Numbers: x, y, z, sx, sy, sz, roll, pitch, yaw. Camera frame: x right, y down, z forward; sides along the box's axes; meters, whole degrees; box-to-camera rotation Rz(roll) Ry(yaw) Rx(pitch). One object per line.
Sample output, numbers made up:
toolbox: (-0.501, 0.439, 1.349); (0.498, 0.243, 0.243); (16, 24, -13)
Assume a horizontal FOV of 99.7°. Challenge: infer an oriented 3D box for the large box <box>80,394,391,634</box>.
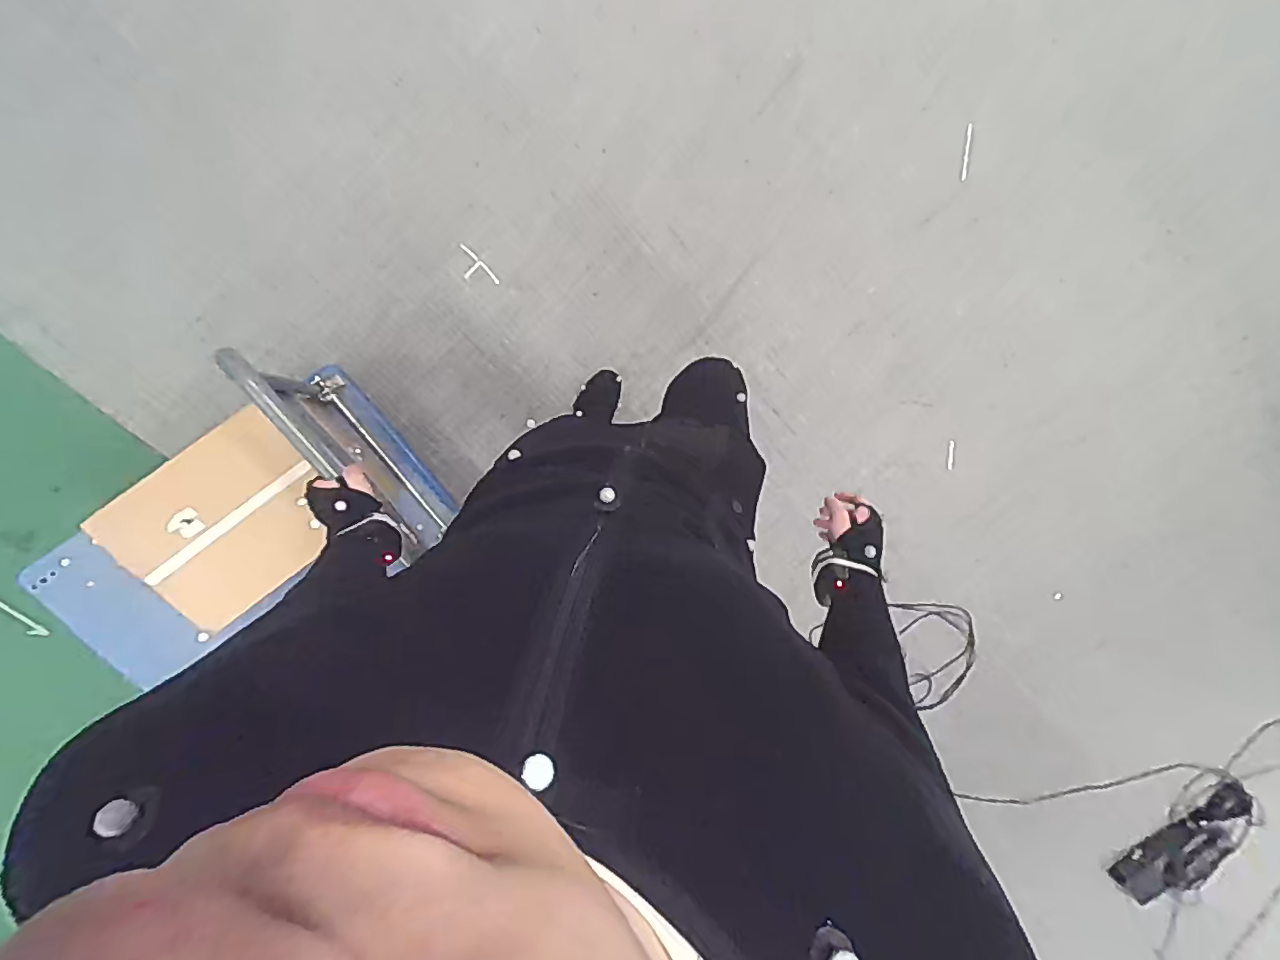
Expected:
large box: (-0.847, 0.049, 1.211); (0.408, 0.320, 0.320); (-39, 106, -6)
